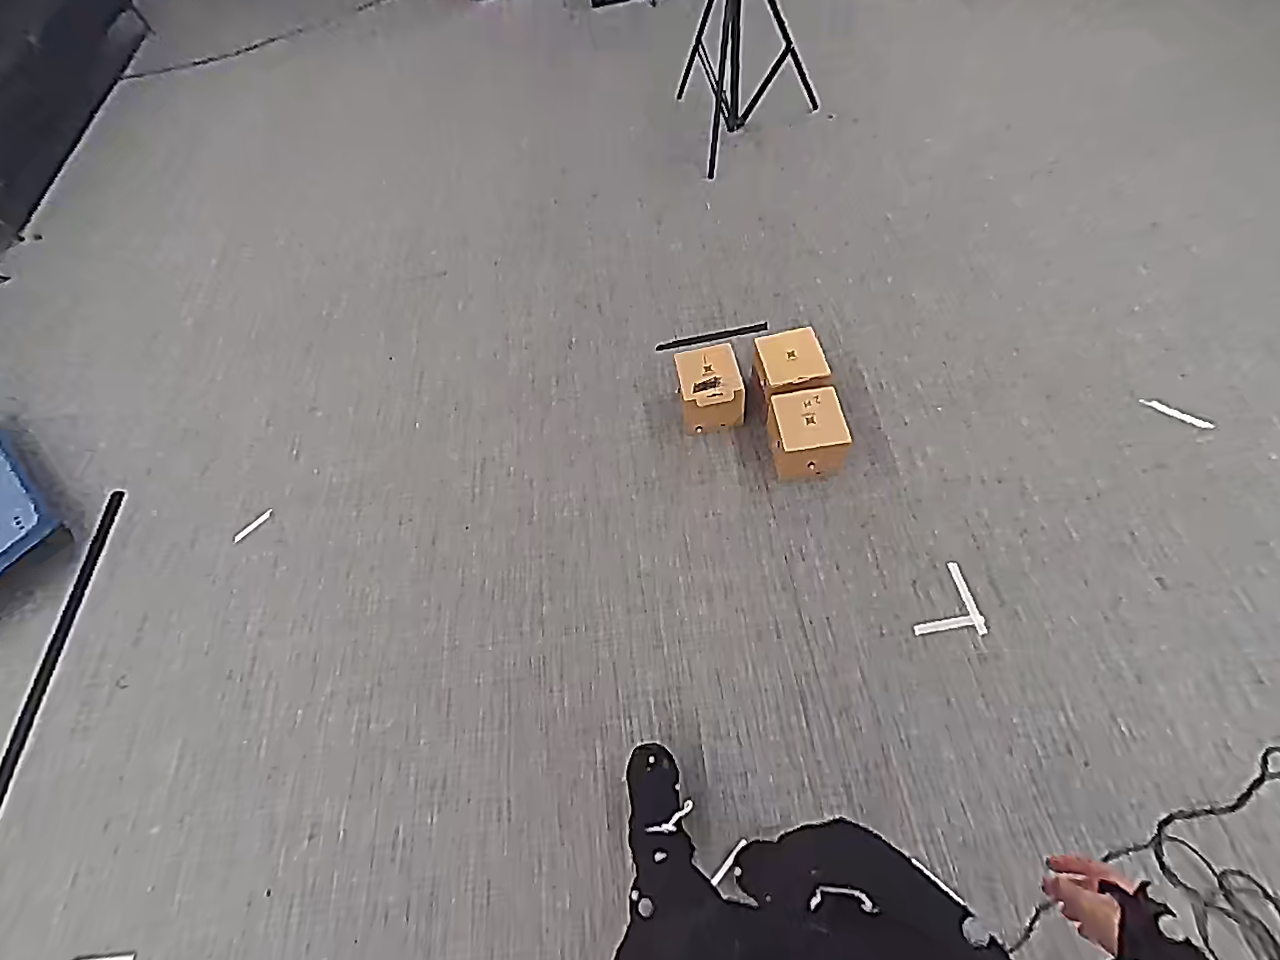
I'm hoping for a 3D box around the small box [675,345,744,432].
[{"bbox_3d":[0.199,-0.252,1.549,0.168,0.176,0.179,-11,60,3],"label":"small box"}]
